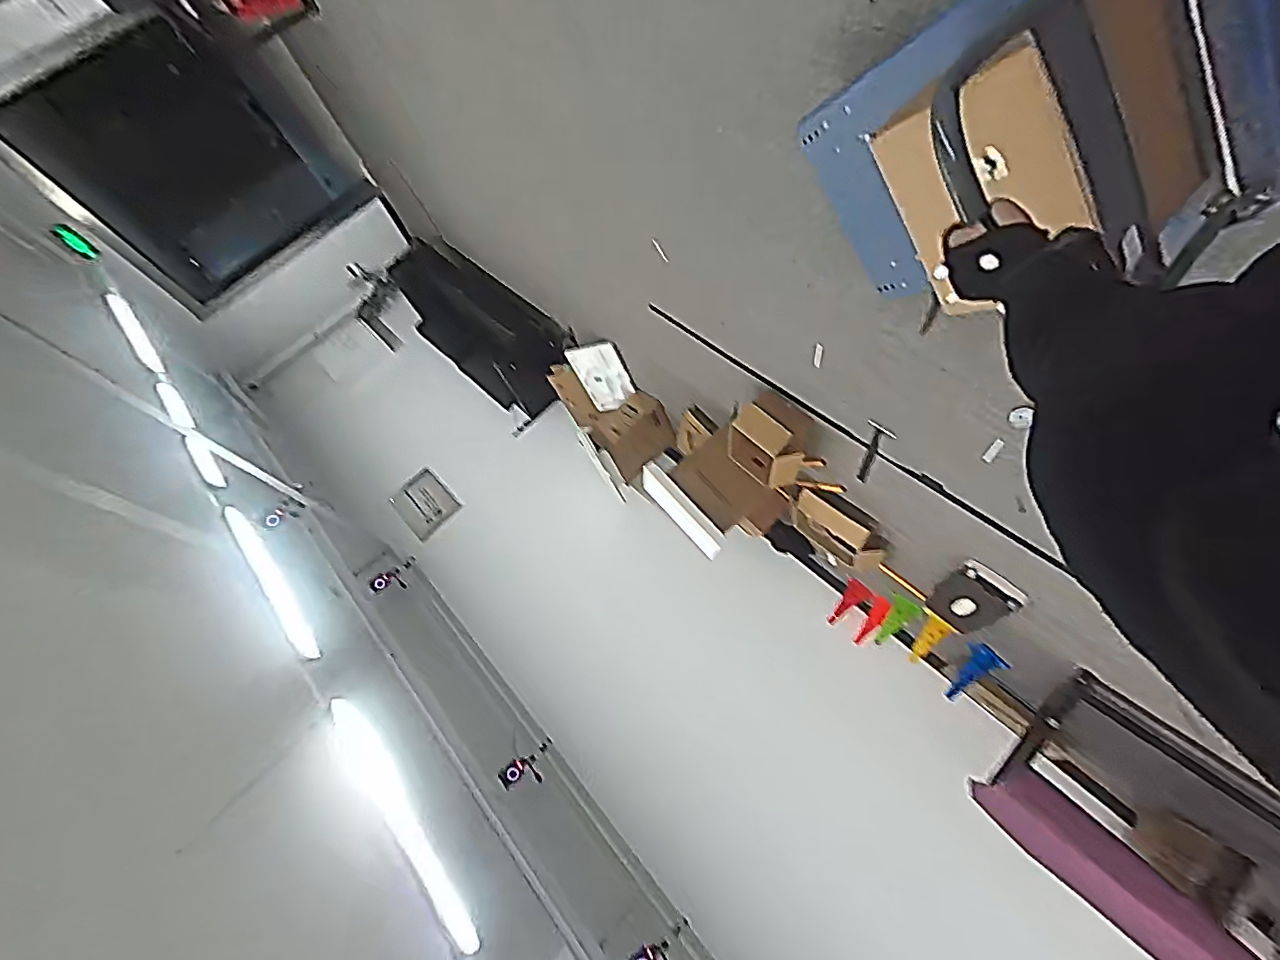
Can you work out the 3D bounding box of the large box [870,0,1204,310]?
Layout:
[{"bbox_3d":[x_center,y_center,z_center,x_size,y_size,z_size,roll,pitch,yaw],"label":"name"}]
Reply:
[{"bbox_3d":[0.718,-0.590,0.992,0.408,0.320,0.320,52,167,-20],"label":"large box"}]
